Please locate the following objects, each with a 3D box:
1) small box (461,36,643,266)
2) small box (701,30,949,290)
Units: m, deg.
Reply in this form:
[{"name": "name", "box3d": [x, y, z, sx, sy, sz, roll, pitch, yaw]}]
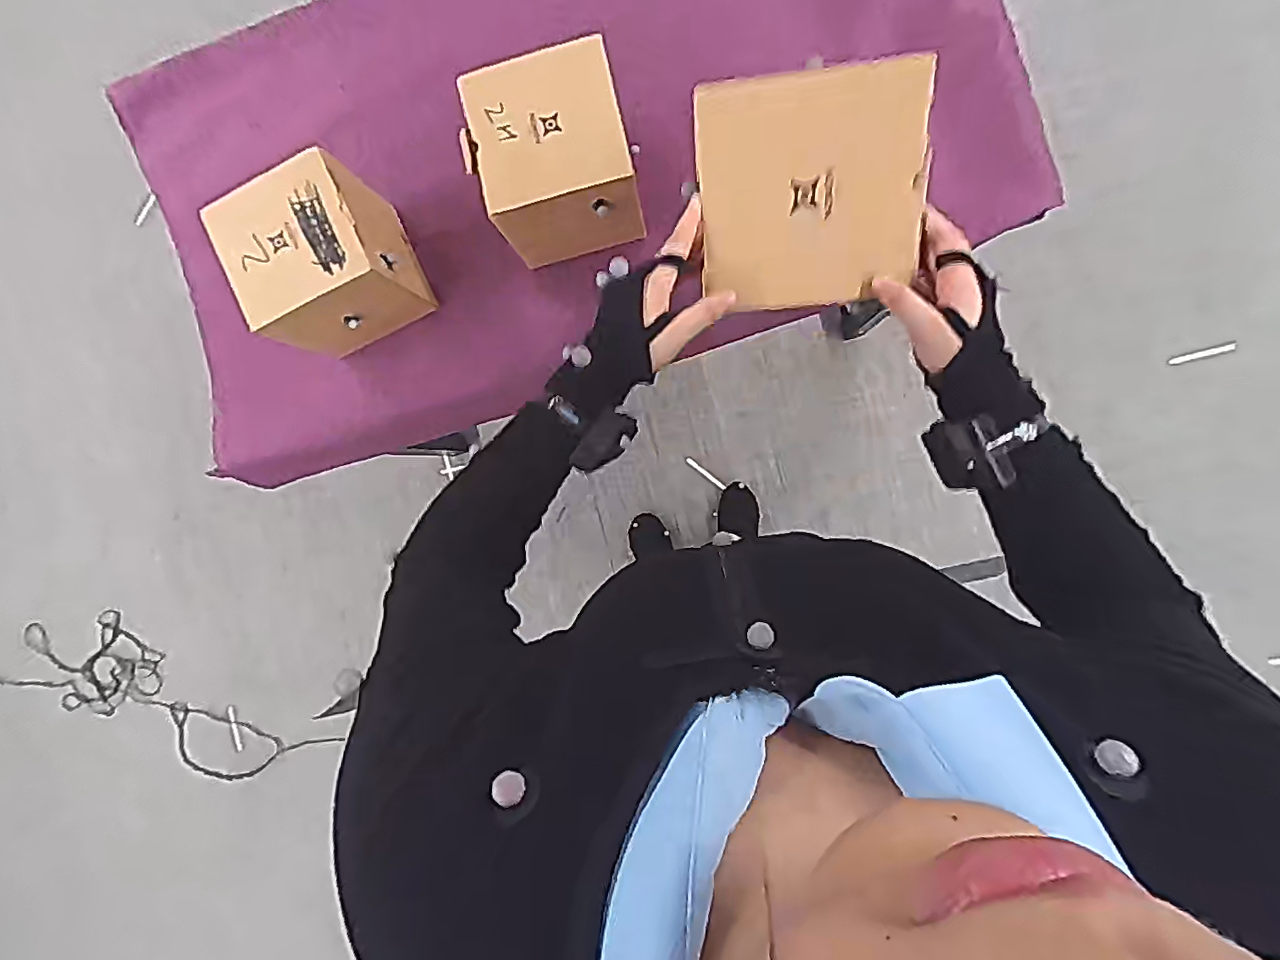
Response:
[{"name": "small box", "box3d": [-0.098, -0.401, 0.692, 0.179, 0.176, 0.168, -13, 89, 6]}, {"name": "small box", "box3d": [0.146, -0.267, 0.493, 0.179, 0.176, 0.168, -4, 112, 6]}]
